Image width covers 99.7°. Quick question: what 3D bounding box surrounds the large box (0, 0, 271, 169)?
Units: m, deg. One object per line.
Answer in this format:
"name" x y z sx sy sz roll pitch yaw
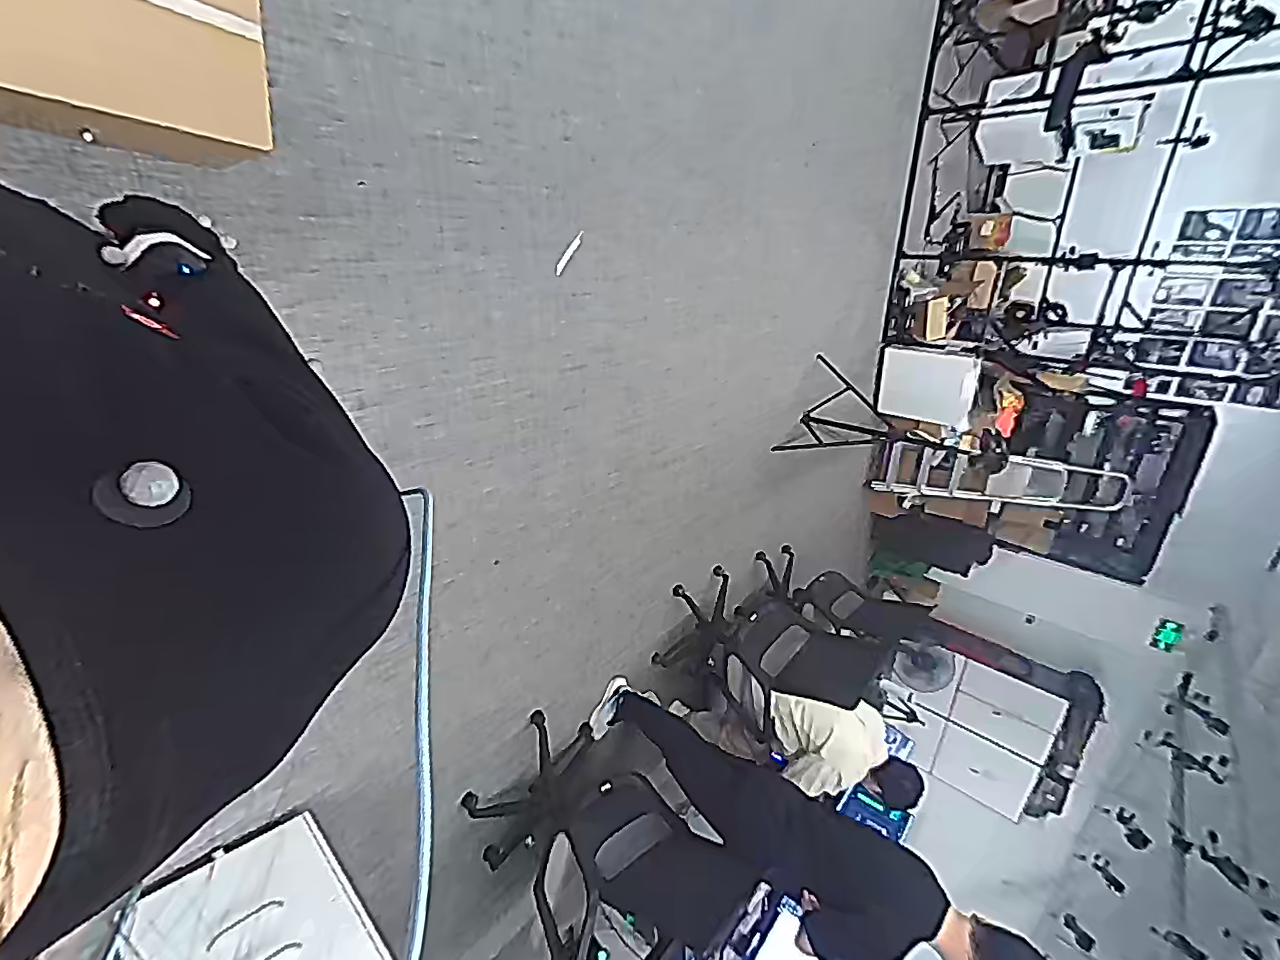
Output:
"large box" -0.825 -0.672 0.768 0.408 0.320 0.320 -15 117 -48
